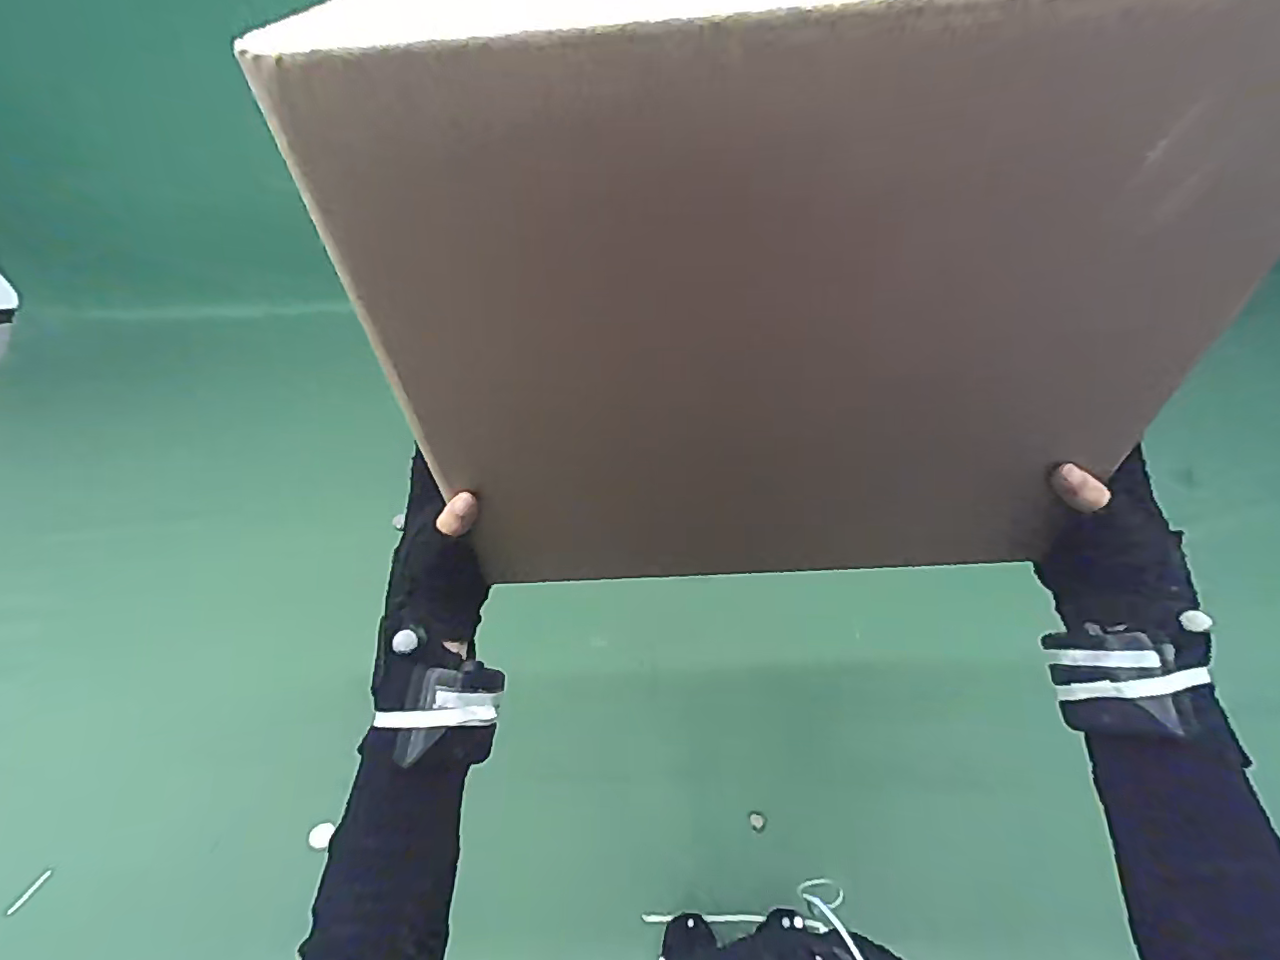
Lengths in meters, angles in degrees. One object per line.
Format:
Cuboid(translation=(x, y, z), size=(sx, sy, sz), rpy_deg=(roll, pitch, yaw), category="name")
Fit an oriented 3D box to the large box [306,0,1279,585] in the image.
Cuboid(translation=(0.080, -0.144, 0.395), size=(0.408, 0.320, 0.320), rpy_deg=(-3, 44, 1), category="large box")
